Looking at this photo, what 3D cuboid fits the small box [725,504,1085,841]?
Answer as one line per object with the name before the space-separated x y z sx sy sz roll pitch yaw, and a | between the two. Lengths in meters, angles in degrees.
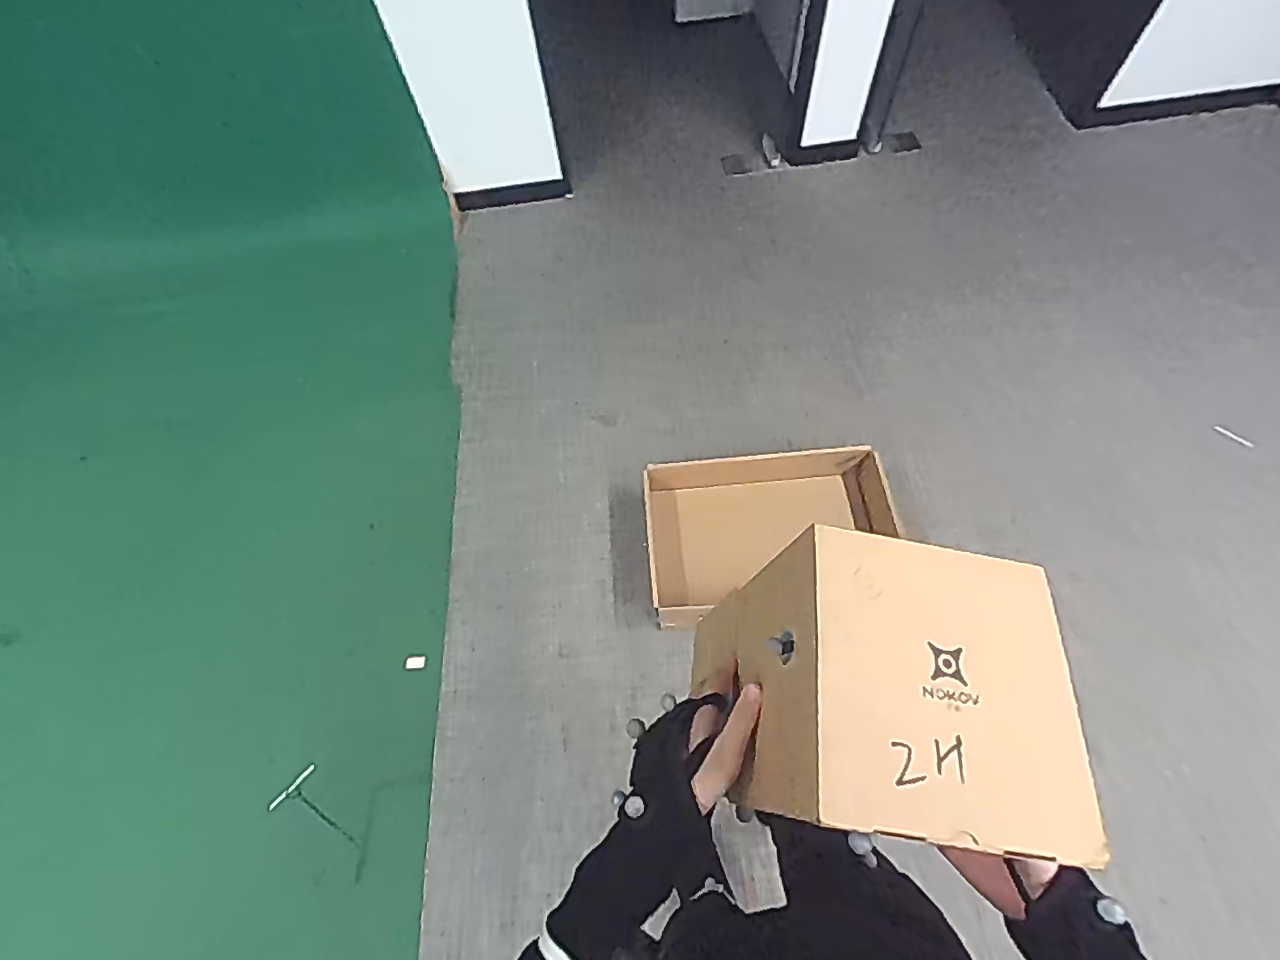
small box | 0.168 0.143 0.404 0.168 0.176 0.179 11 63 -2
